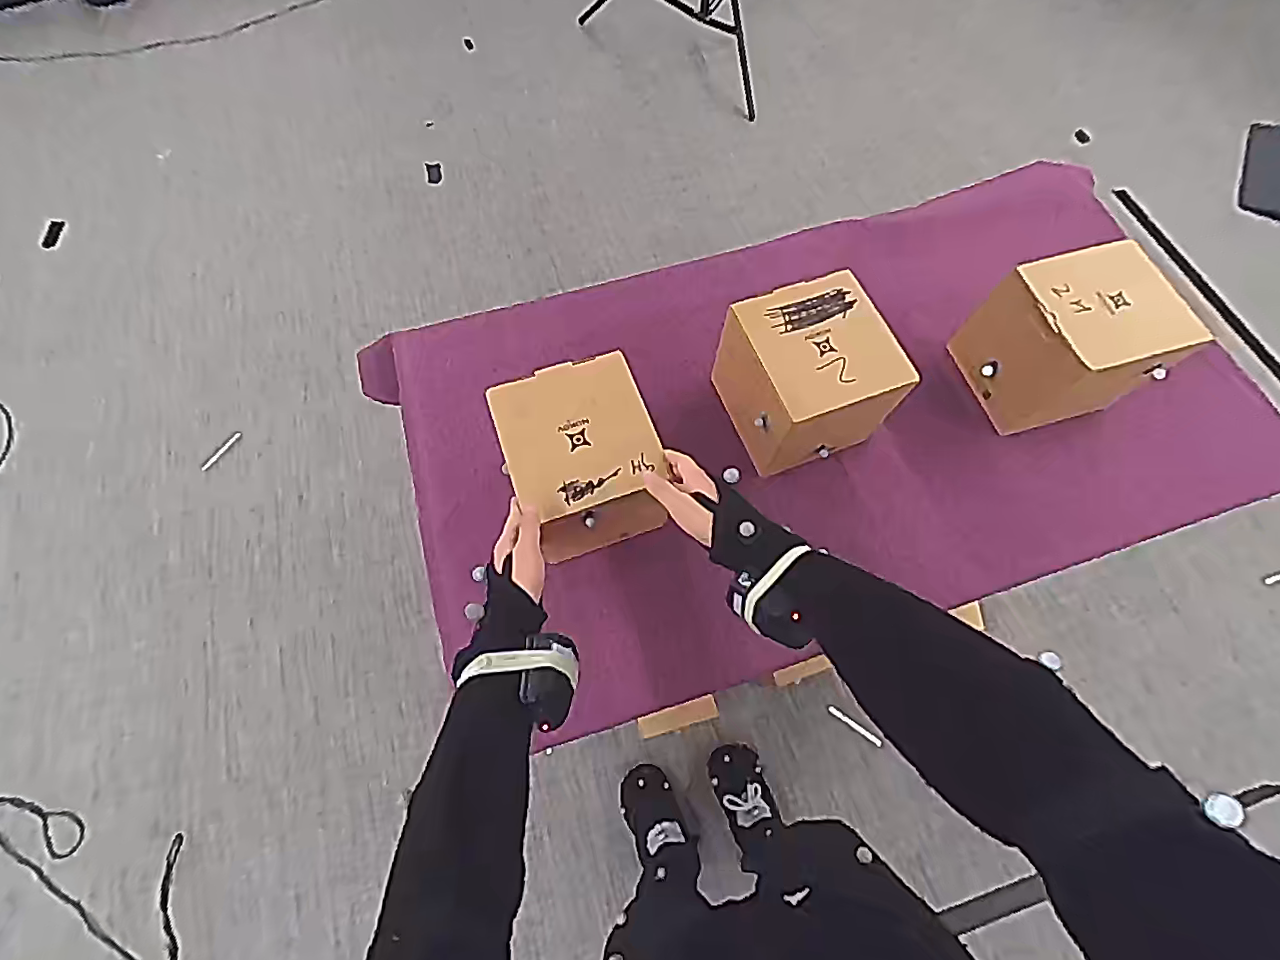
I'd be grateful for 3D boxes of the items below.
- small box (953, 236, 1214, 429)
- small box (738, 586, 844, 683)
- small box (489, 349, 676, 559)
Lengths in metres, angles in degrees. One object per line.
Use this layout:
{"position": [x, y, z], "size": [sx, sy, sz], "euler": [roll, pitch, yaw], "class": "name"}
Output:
{"position": [0.575, -0.191, 0.731], "size": [0.179, 0.176, 0.168], "euler": [-15, 68, -6], "class": "small box"}
{"position": [0.349, 0.374, 1.291], "size": [0.168, 0.176, 0.179], "euler": [-17, 70, -7], "class": "small box"}
{"position": [-0.068, -0.024, 0.662], "size": [0.168, 0.176, 0.179], "euler": [-19, 70, -8], "class": "small box"}
